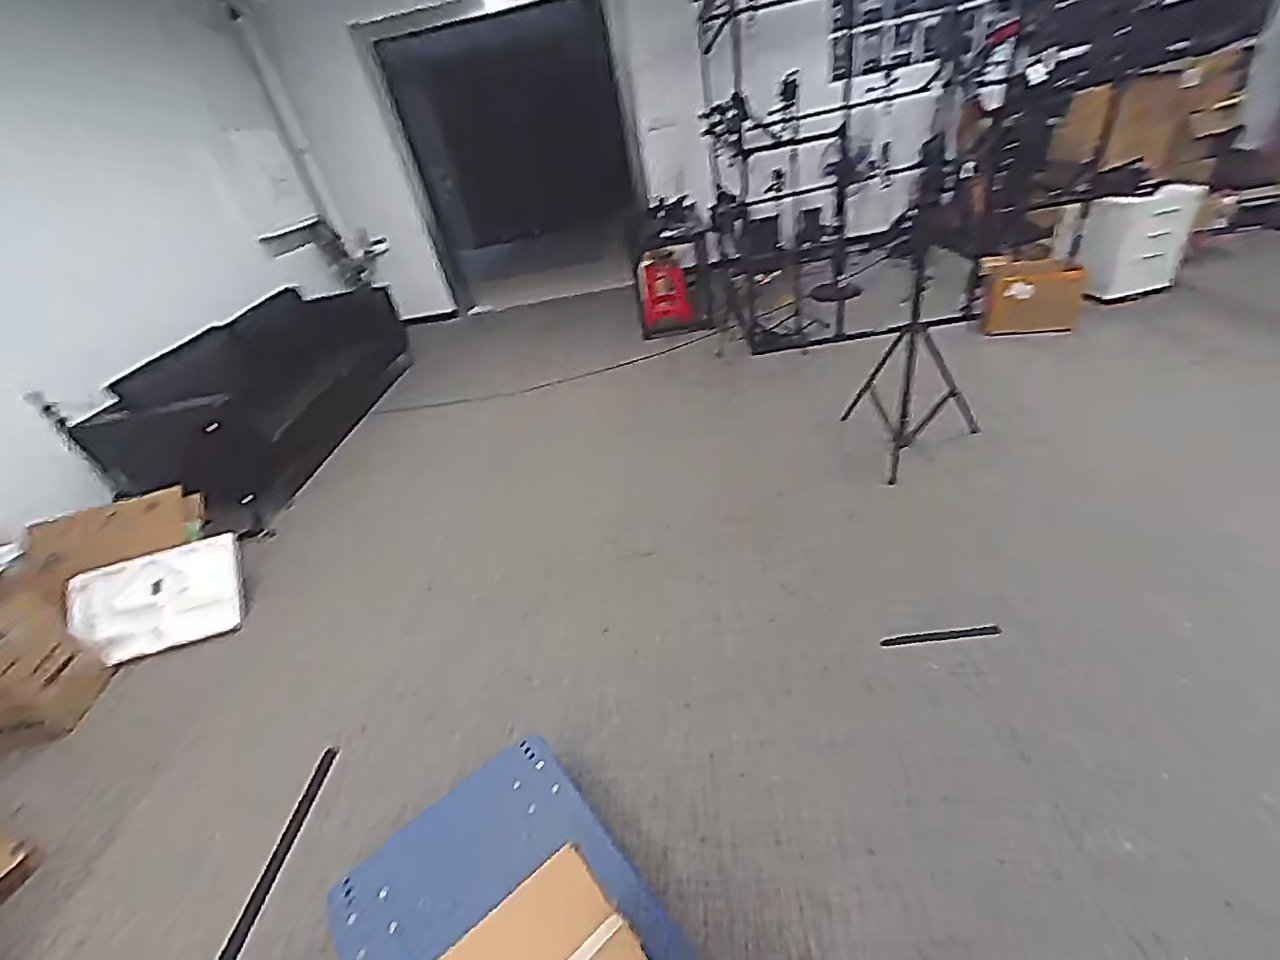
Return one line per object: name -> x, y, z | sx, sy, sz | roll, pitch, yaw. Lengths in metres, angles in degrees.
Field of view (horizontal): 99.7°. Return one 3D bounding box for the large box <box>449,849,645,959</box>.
large box -> -0.160, 0.928, 0.857 | 0.408, 0.320, 0.320 | -30, 38, -27
